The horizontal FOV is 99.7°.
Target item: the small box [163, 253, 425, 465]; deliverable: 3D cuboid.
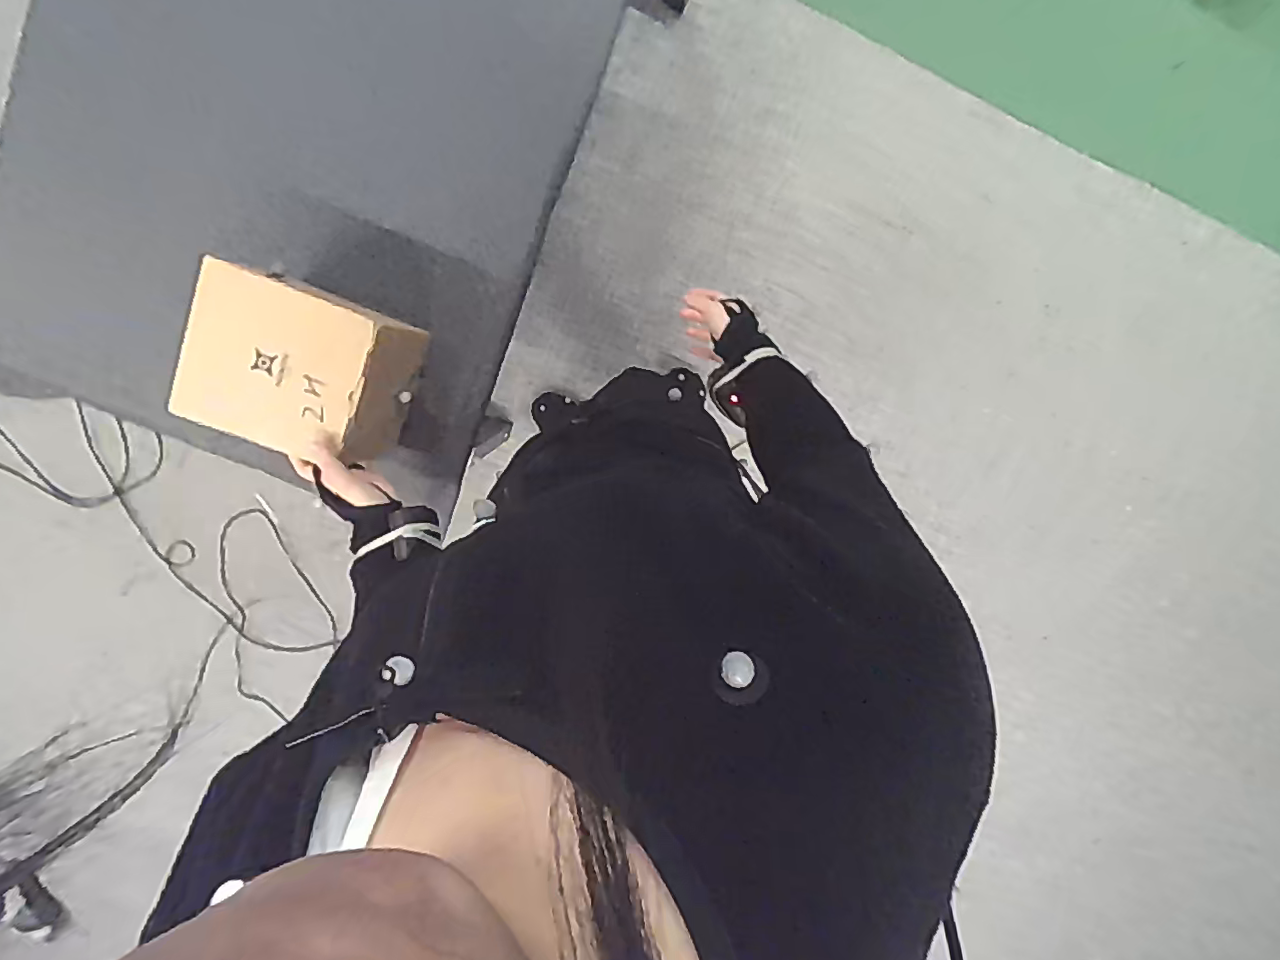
[{"bbox_3d":[-0.379,-0.133,0.624,0.179,0.176,0.168,20,100,-7],"label":"small box"}]
